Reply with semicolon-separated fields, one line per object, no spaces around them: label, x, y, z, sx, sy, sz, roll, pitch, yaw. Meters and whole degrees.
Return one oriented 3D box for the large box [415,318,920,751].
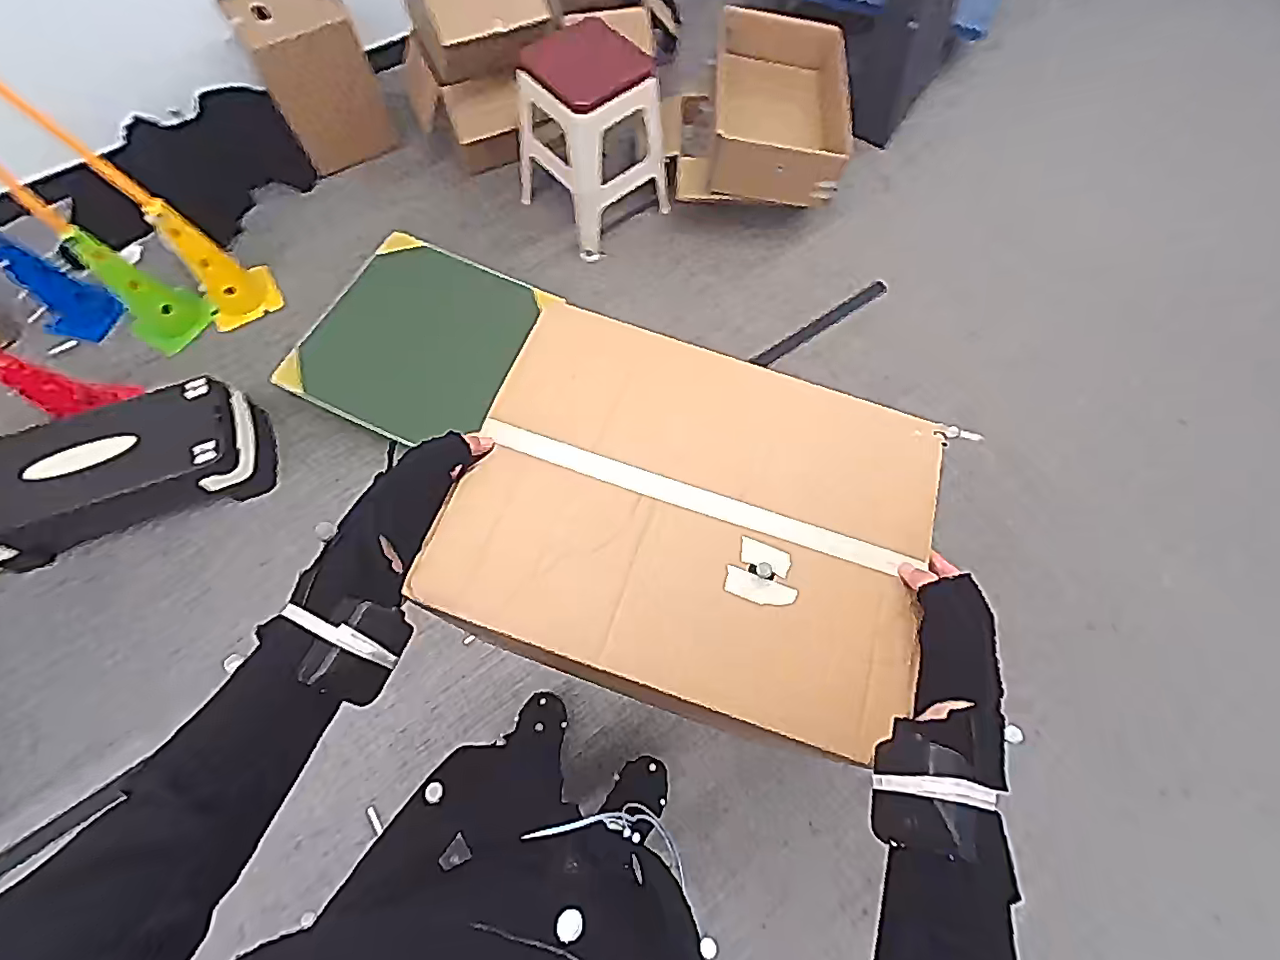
large box;0.033;0.079;0.621;0.408;0.320;0.320;18;68;2
